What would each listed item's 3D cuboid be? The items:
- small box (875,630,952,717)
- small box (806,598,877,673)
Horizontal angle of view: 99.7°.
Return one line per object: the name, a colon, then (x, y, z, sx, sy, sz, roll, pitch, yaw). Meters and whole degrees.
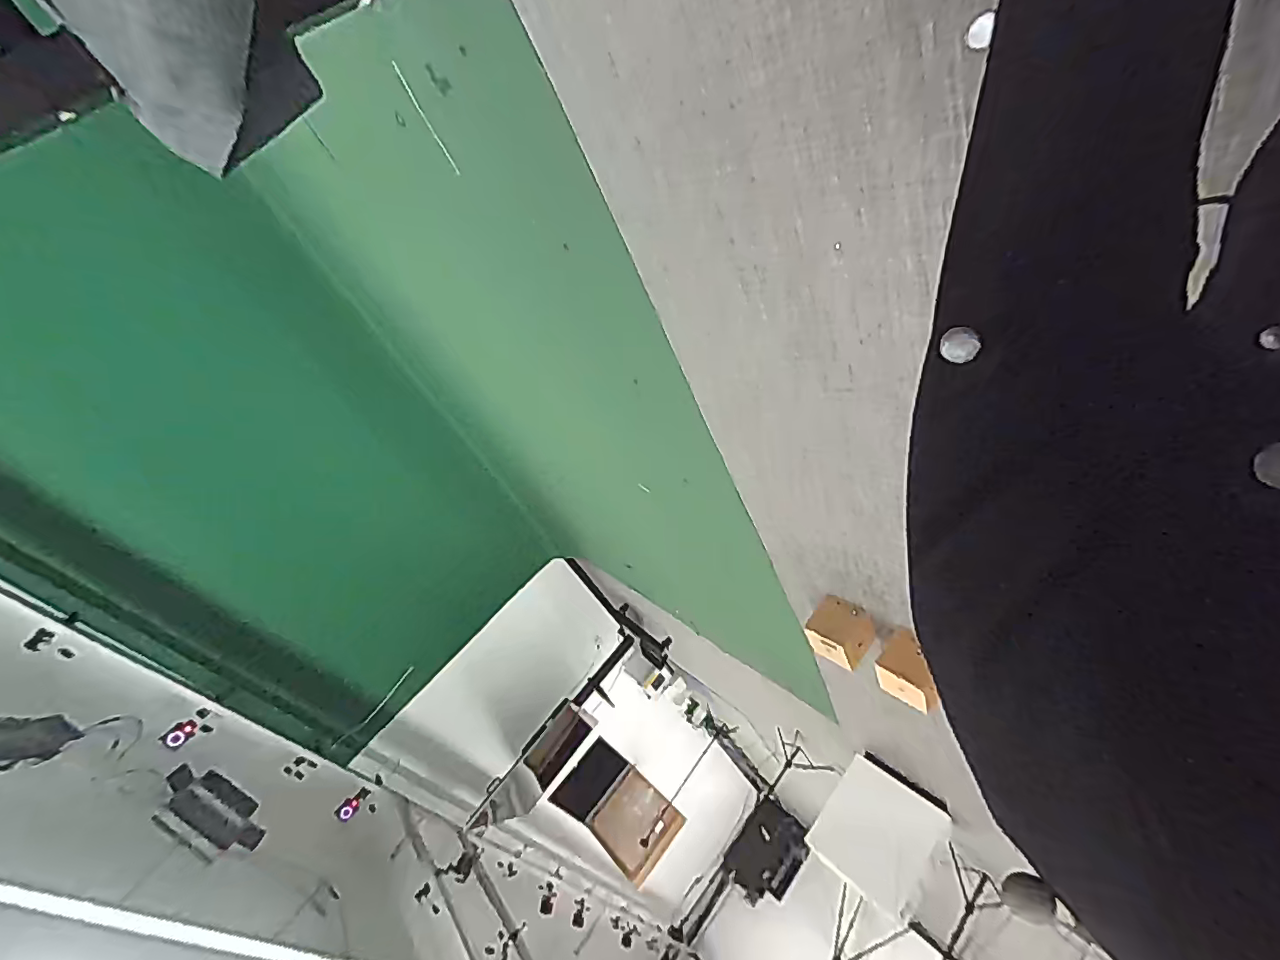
small box: (0.907, 0.633, 1.783, 0.168, 0.176, 0.179, 24, 151, 47)
small box: (0.742, 0.564, 1.984, 0.168, 0.176, 0.179, 21, 150, 50)
